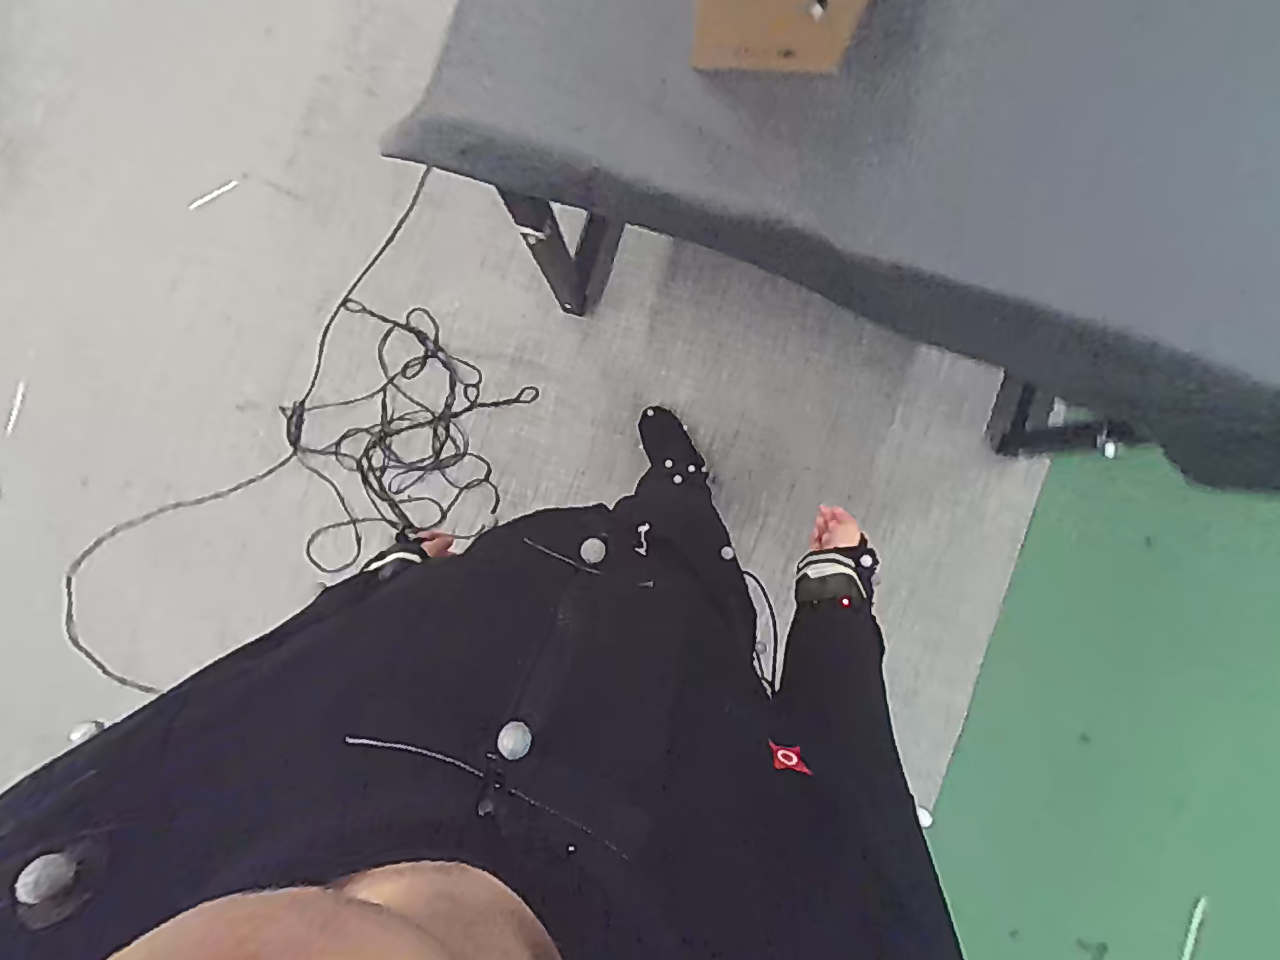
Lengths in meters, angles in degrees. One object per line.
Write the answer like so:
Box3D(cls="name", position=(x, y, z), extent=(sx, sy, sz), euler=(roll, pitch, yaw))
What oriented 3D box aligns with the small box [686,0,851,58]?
Box3D(cls="small box", position=(0.135, -0.559, 0.528), extent=(0.168, 0.176, 0.179), euler=(2, 88, 0))
